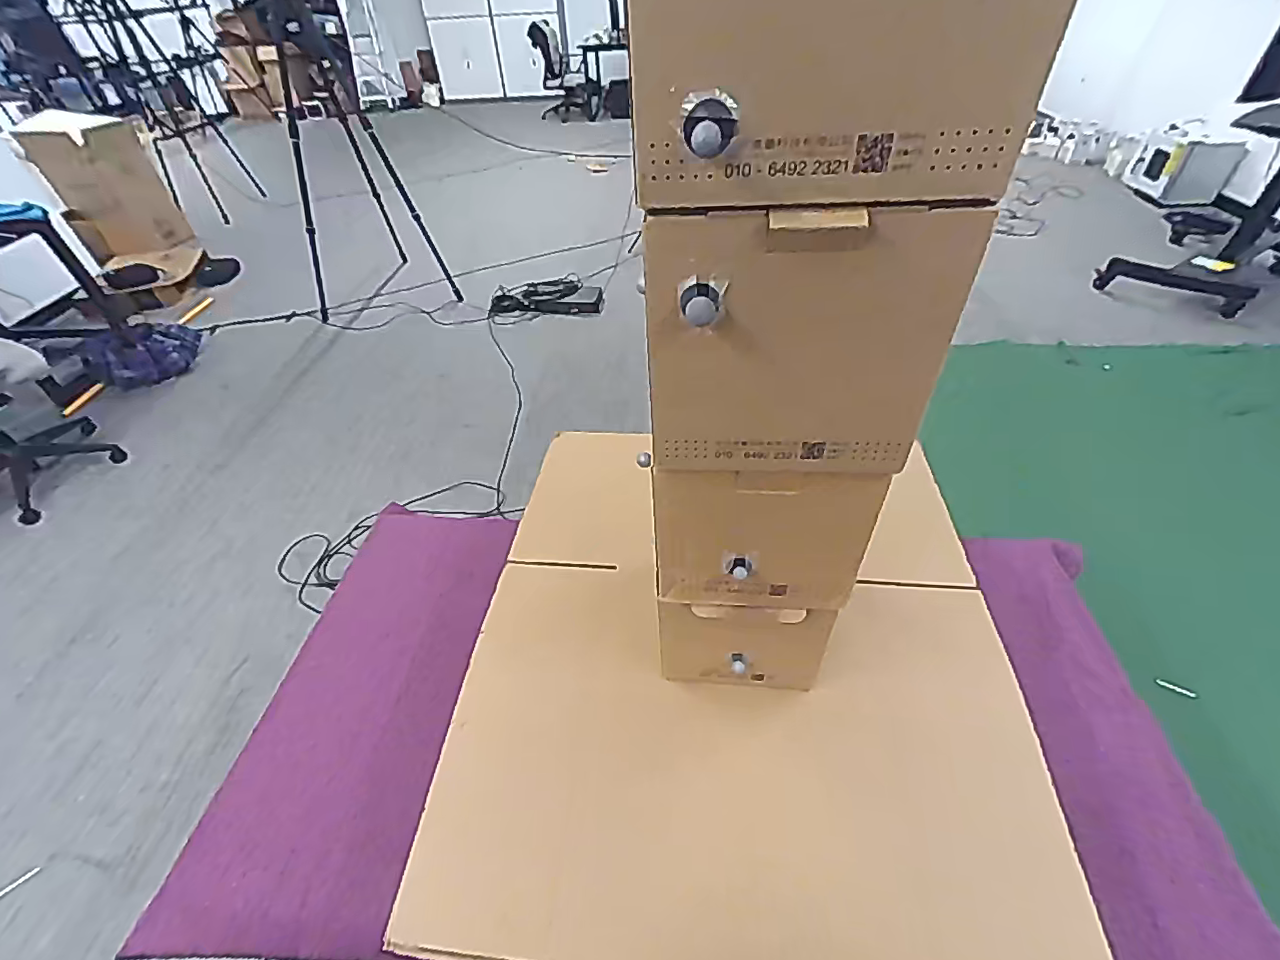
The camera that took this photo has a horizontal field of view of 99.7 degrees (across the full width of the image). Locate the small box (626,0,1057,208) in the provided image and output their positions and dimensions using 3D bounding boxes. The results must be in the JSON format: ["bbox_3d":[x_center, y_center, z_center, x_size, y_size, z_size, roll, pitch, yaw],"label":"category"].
[{"bbox_3d":[0.083,-0.239,0.256,0.168,0.176,0.179,1,42,6],"label":"small box"}]

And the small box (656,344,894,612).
[{"bbox_3d":[0.102,-0.005,0.487,0.168,0.176,0.179,1,44,6],"label":"small box"}]

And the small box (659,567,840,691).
[{"bbox_3d":[0.113,0.108,0.604,0.168,0.176,0.179,2,44,8],"label":"small box"}]
